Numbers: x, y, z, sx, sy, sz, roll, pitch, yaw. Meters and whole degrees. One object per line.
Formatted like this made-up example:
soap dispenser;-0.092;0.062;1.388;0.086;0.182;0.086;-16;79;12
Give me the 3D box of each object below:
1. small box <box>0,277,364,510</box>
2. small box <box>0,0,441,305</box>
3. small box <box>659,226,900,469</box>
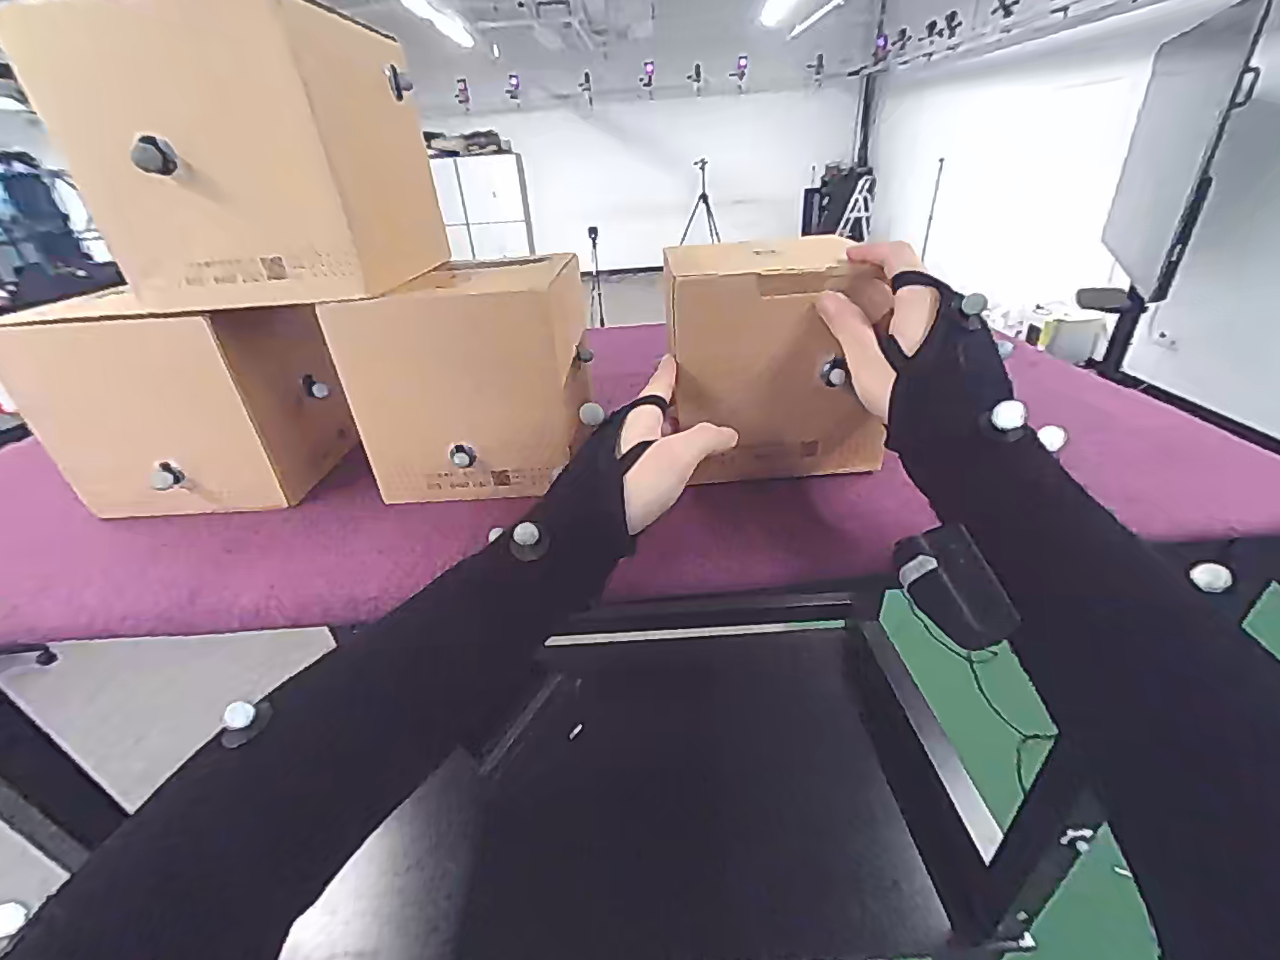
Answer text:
small box;-0.387;-0.086;0.494;0.179;0.176;0.168;-3;31;1
small box;-0.270;-0.233;0.406;0.168;0.176;0.179;-4;30;3
small box;0.107;-0.117;0.482;0.168;0.176;0.179;-4;30;2
